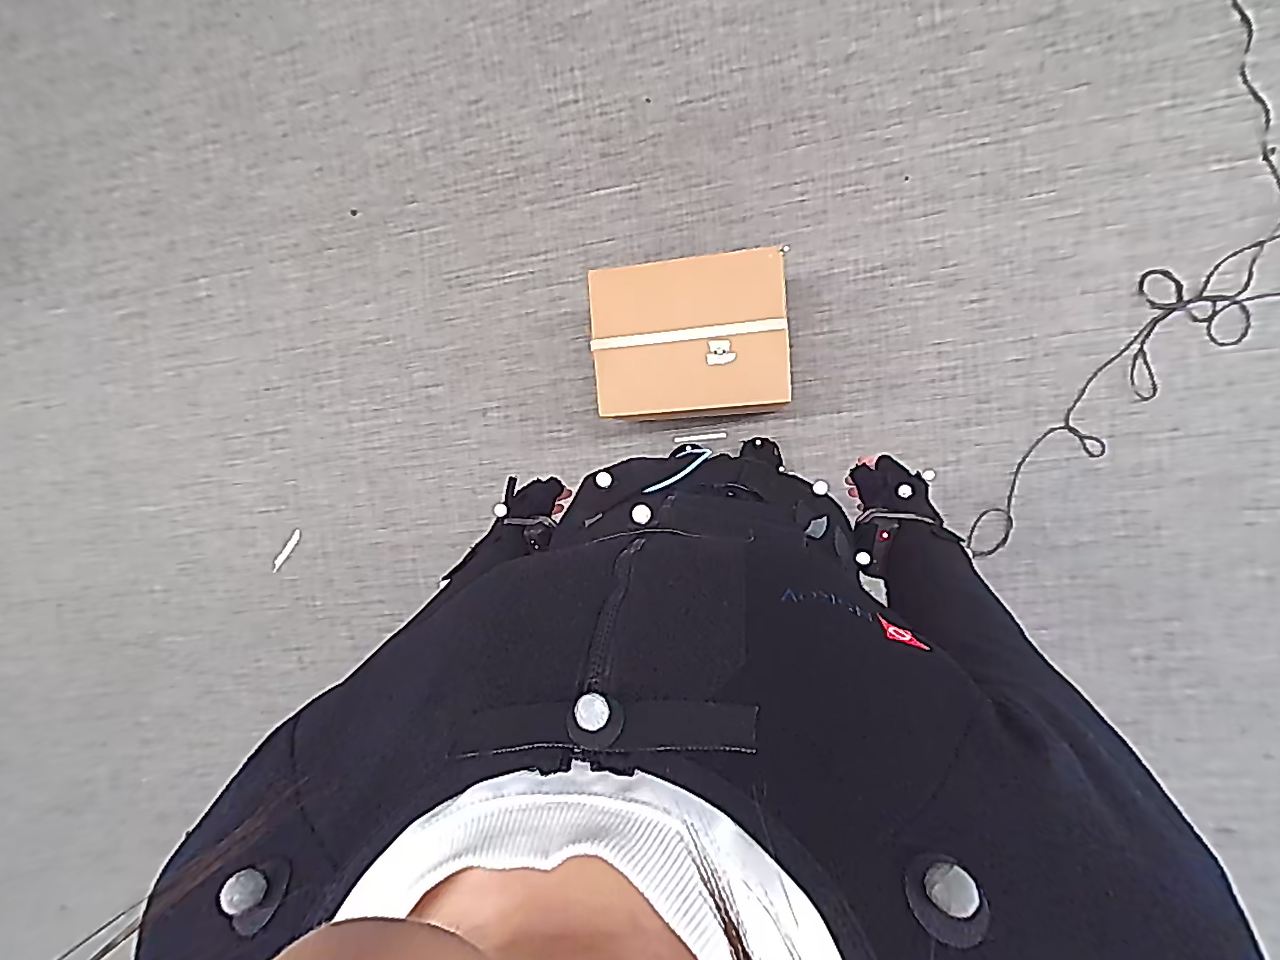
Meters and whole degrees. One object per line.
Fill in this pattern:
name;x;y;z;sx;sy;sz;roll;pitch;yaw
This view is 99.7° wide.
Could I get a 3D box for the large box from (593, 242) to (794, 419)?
large box;0.130;-0.320;1.267;0.408;0.320;0.320;-4;94;10
